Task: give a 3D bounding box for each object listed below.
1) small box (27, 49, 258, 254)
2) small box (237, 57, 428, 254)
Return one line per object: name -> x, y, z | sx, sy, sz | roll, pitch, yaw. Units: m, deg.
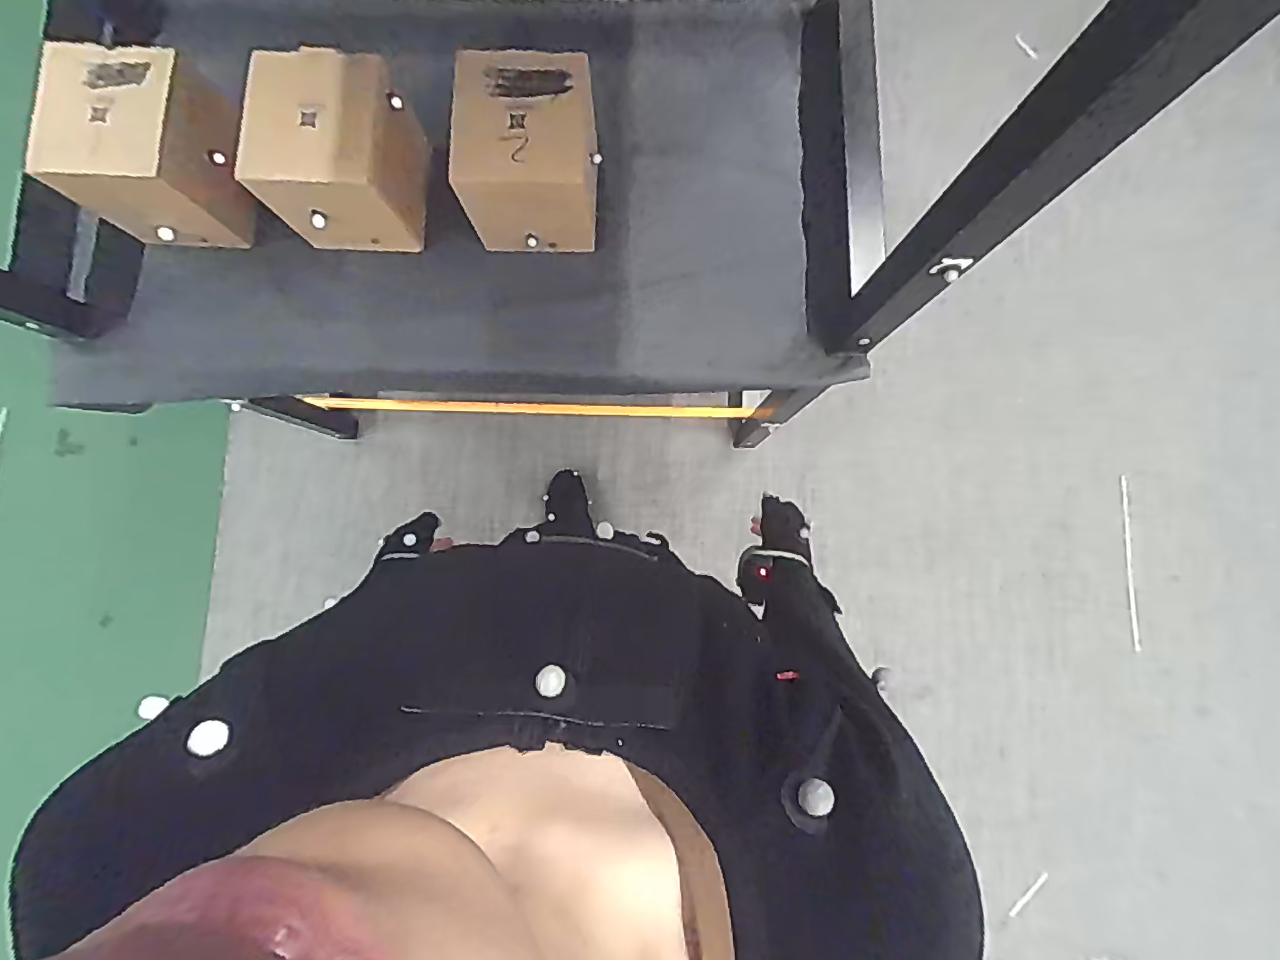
small box -> -0.663, -0.442, 0.748 | 0.168, 0.176, 0.179 | 2, 84, 0
small box -> -0.410, -0.436, 0.750 | 0.168, 0.176, 0.179 | 2, 83, 0
